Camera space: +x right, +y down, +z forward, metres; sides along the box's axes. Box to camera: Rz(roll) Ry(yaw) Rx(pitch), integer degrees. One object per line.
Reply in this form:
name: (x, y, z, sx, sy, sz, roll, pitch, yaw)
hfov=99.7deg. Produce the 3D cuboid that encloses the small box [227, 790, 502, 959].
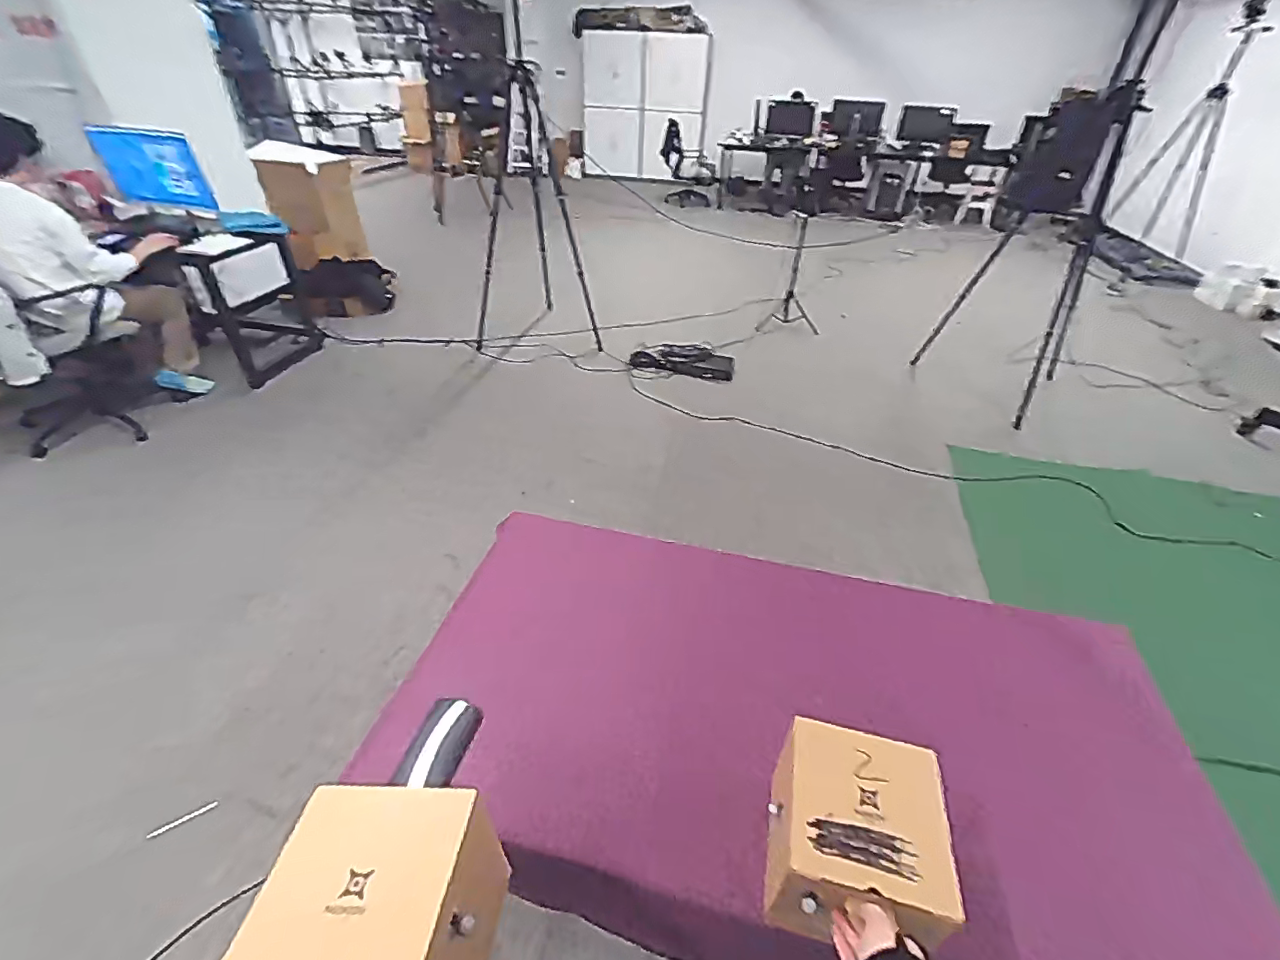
small box: (-0.240, 0.426, 0.507, 0.168, 0.176, 0.179, -1, 33, 5)
